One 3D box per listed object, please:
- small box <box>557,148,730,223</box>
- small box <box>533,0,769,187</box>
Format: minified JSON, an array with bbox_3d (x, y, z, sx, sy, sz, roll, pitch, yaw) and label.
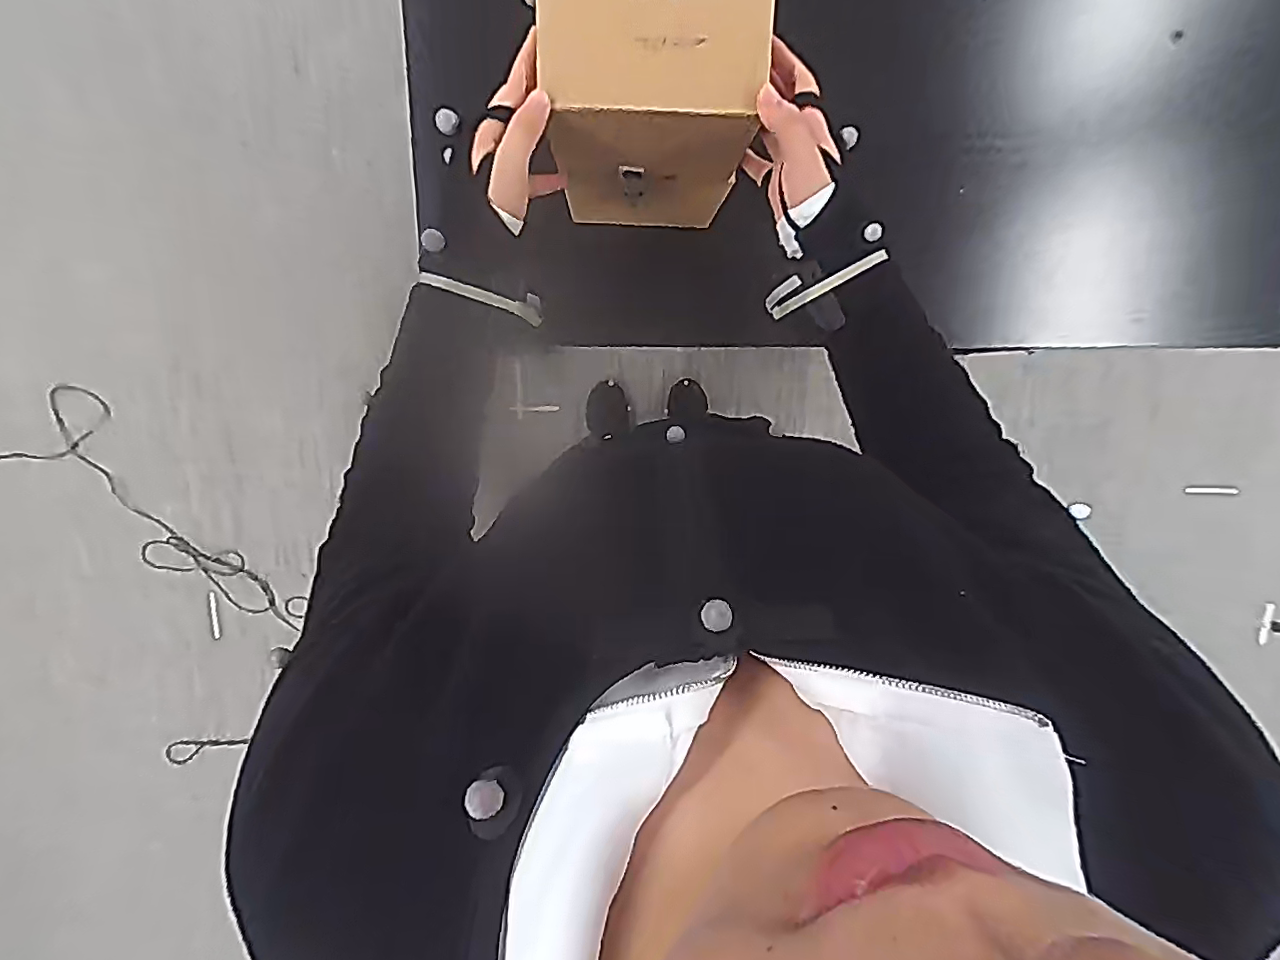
[{"bbox_3d":[0.004,-0.399,0.605,0.179,0.176,0.168,1,101,-3],"label":"small box"},{"bbox_3d":[0.006,-0.367,0.446,0.168,0.176,0.179,1,102,-2],"label":"small box"}]
